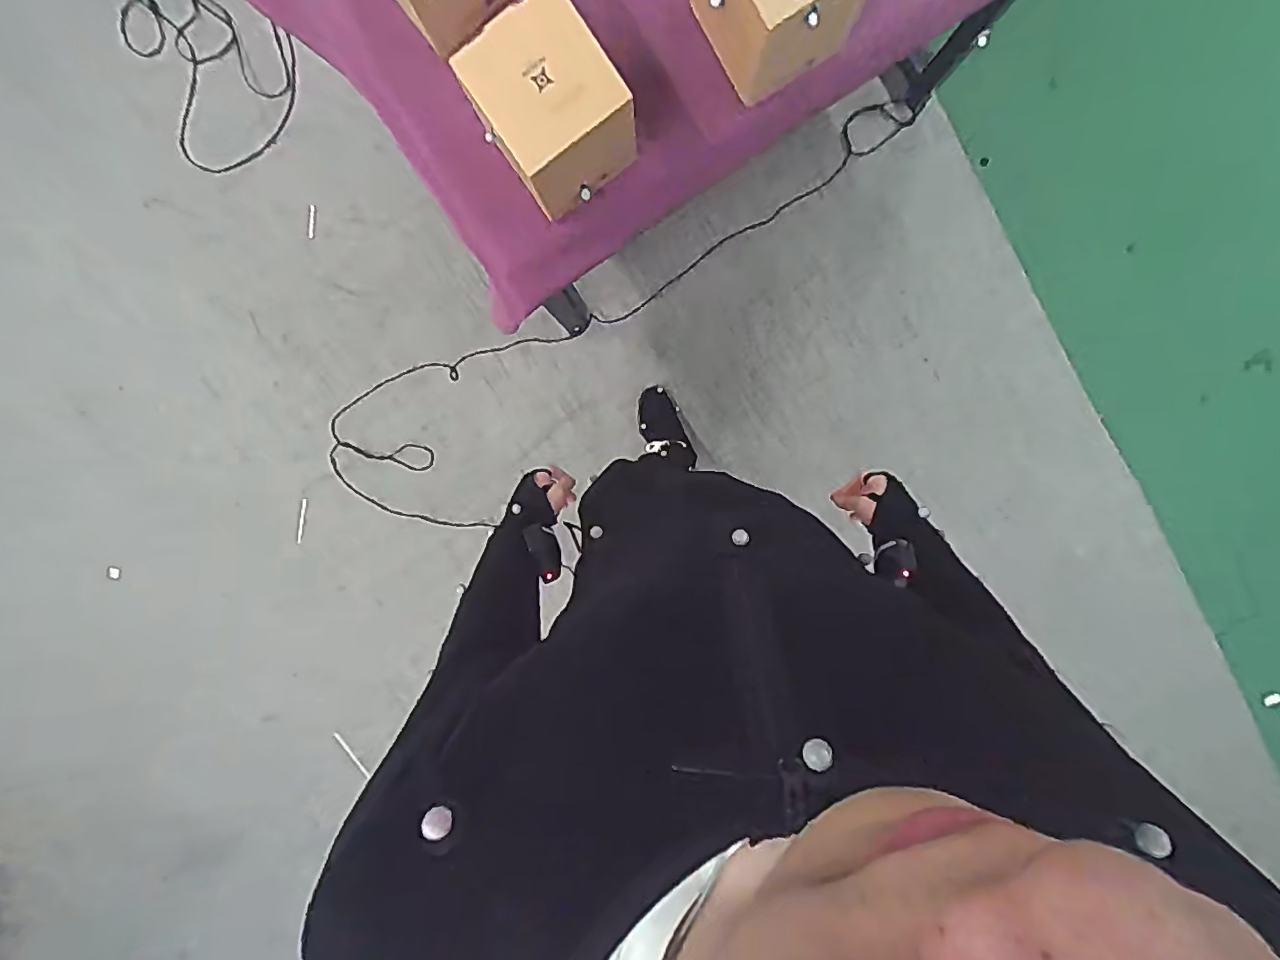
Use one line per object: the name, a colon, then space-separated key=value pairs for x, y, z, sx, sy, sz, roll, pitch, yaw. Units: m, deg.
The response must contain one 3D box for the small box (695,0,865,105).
small box: x=0.185 y=-0.665 z=0.727 sx=0.168 sy=0.176 sz=0.179 roll=-30 pitch=93 yaw=5
